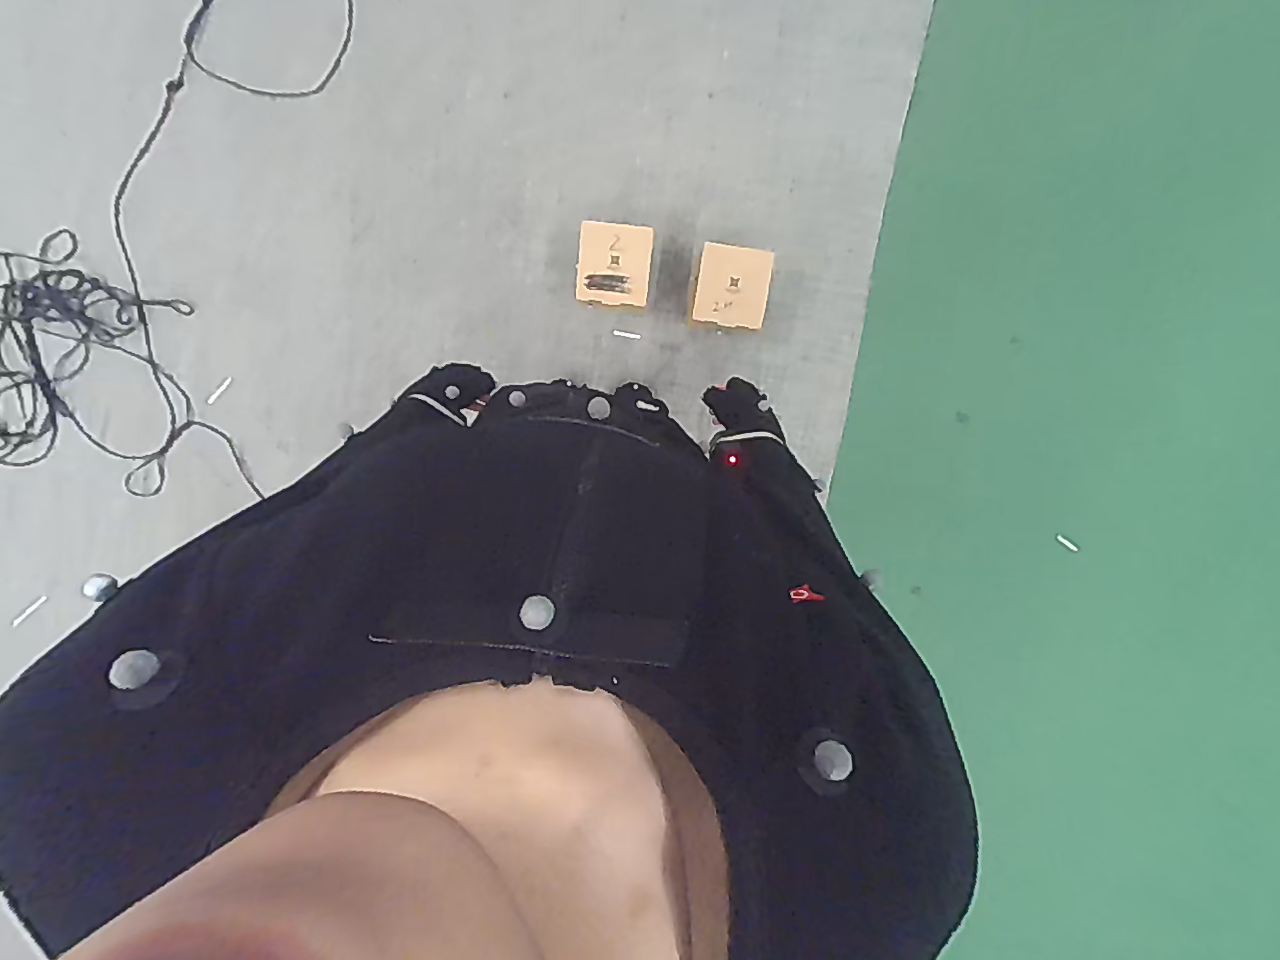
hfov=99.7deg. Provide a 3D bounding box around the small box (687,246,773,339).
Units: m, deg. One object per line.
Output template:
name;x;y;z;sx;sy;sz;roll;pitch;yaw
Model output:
small box;0.212;-0.454;1.330;0.168;0.176;0.179;9;100;-1
